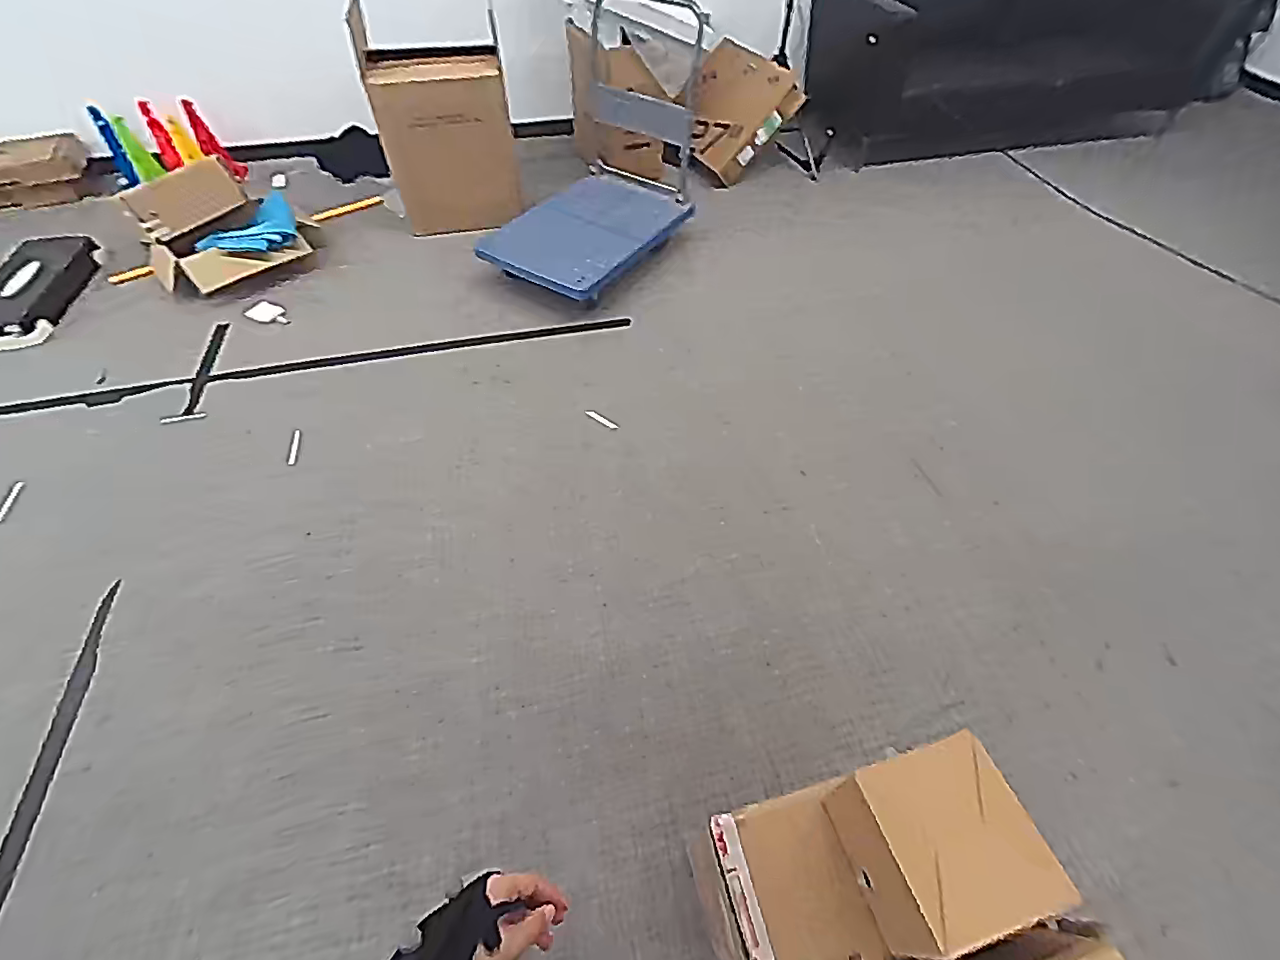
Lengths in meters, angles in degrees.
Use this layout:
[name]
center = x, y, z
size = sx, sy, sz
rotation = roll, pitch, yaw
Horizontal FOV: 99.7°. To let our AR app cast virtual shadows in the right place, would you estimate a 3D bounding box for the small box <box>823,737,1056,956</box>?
[small box]
center = 0.354, 0.445, 0.660
size = 0.168, 0.176, 0.179
rotation = -13, 51, -9
